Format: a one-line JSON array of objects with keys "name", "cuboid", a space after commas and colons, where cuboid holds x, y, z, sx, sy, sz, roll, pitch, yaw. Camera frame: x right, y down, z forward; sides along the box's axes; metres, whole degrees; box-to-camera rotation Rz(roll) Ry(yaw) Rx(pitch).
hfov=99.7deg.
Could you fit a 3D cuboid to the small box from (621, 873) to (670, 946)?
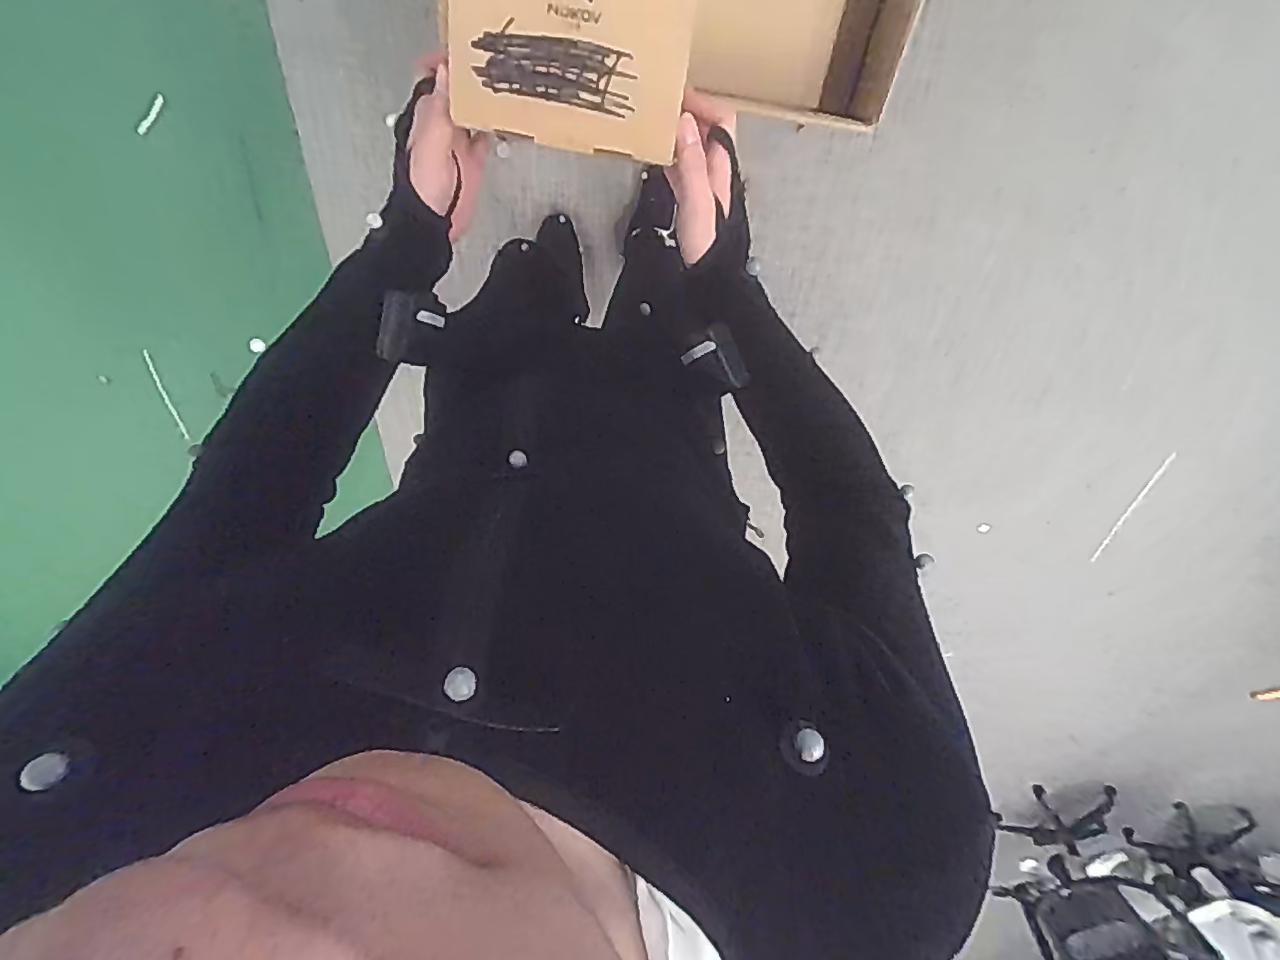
[{"name": "small box", "cuboid": [0.022, 1.532, 1.929, 0.168, 0.176, 0.179, 1, 127, 3]}]
